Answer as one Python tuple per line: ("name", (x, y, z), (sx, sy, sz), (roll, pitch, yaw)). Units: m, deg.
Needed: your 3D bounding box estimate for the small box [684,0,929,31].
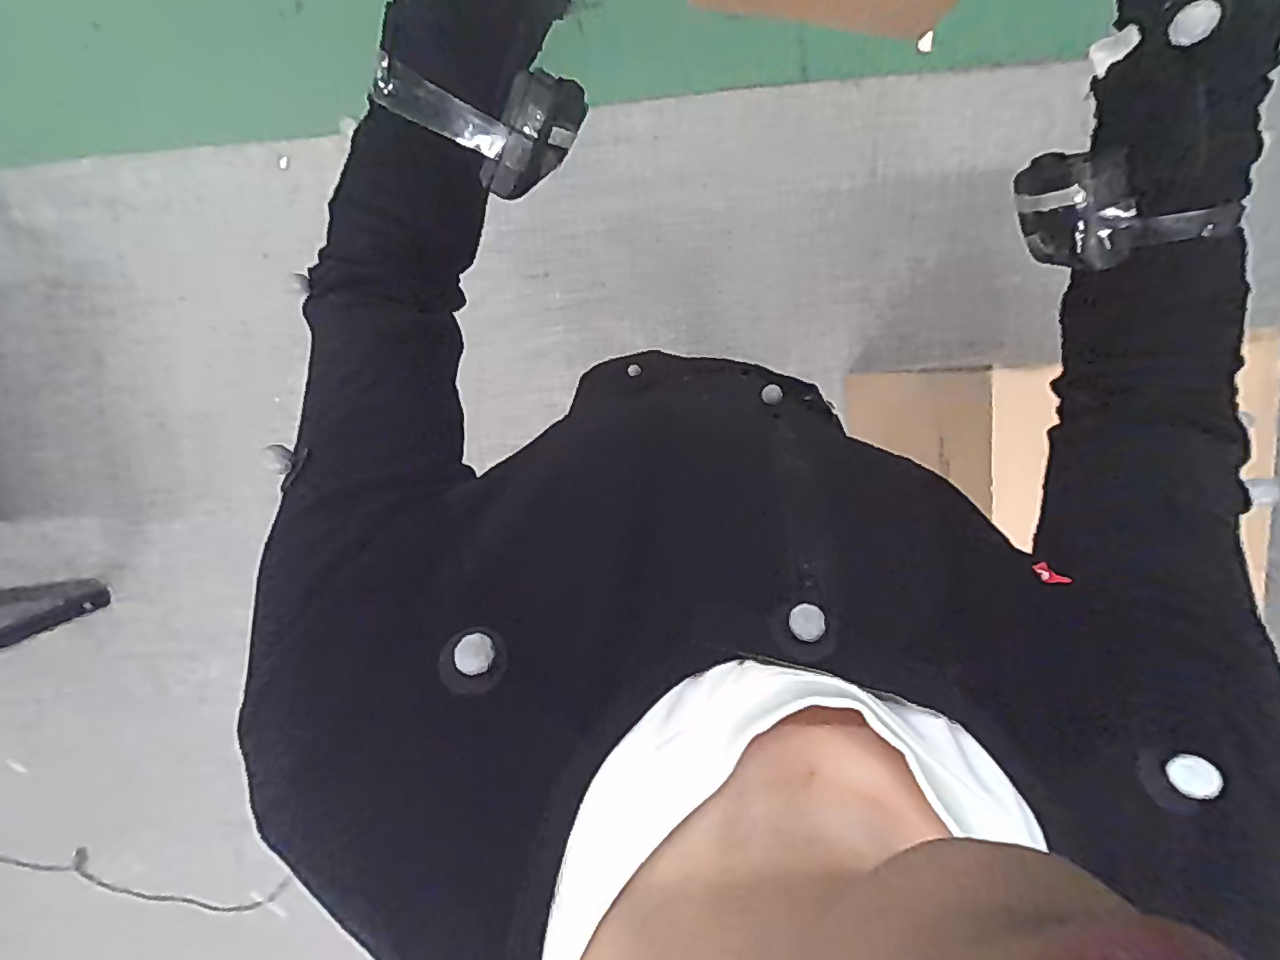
("small box", (0.120, -0.388, 0.299), (0.179, 0.176, 0.168), (6, 107, 2))
